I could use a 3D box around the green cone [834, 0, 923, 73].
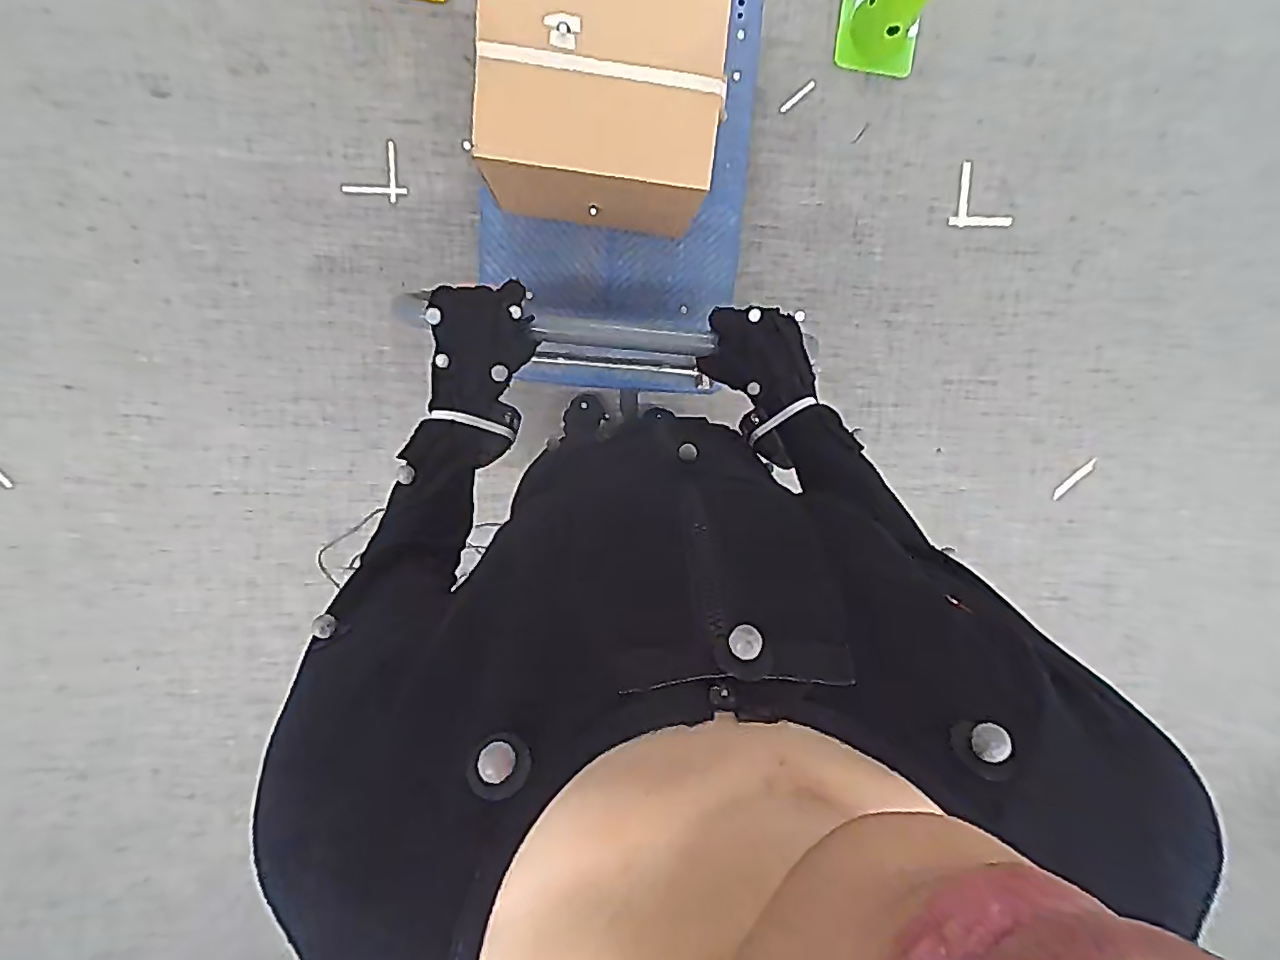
[{"bbox_3d":[0.601,-1.100,1.170,0.202,0.368,0.200,5,99,-6],"label":"green cone"}]

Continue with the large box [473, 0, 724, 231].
[{"bbox_3d":[-0.077,-0.697,1.043,0.408,0.320,0.320,6,99,-4],"label":"large box"}]
